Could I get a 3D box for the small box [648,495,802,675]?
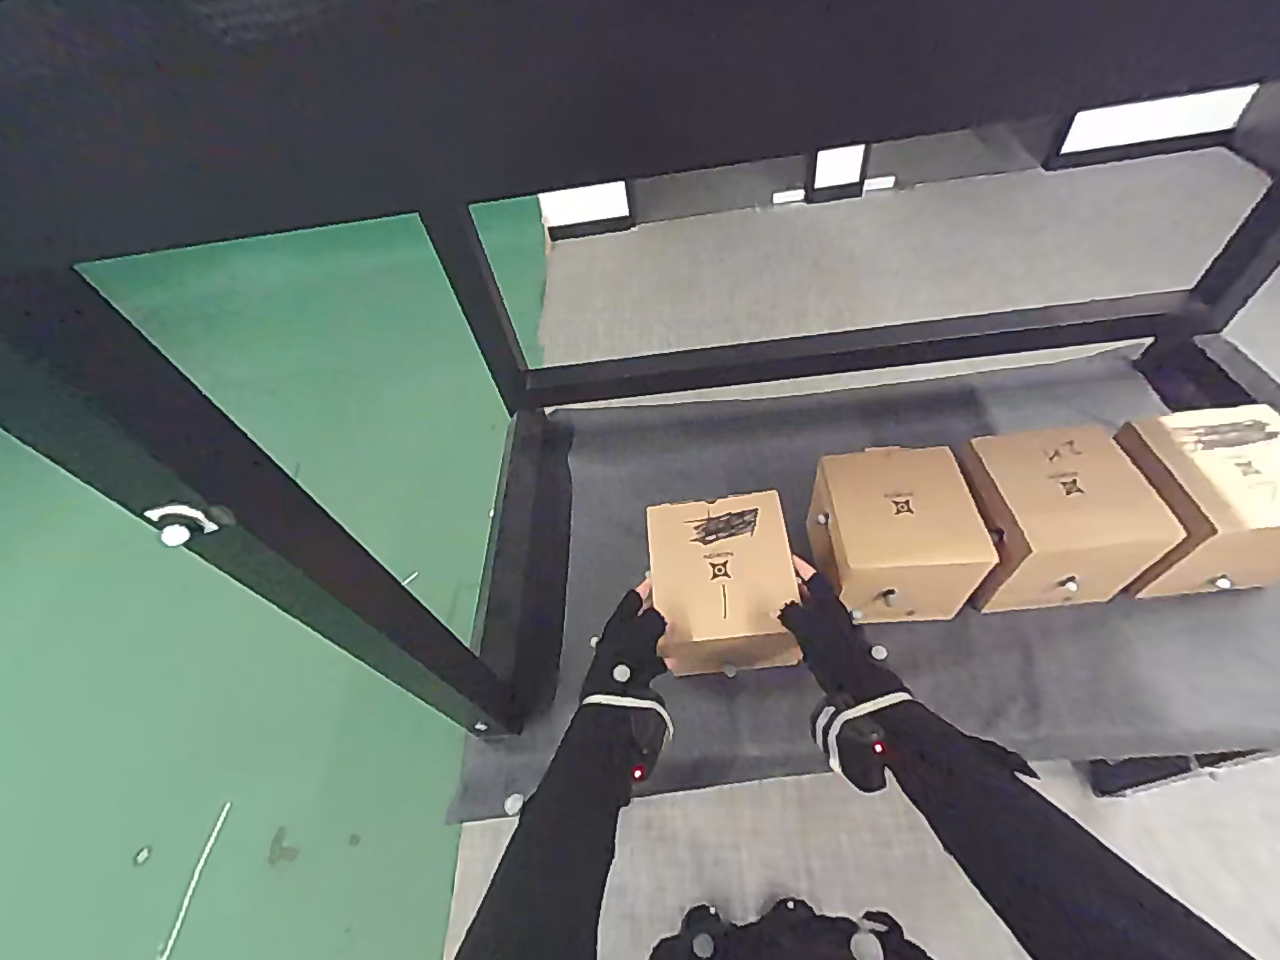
[{"bbox_3d":[0.106,0.142,0.707,0.168,0.176,0.179,-8,59,7],"label":"small box"}]
